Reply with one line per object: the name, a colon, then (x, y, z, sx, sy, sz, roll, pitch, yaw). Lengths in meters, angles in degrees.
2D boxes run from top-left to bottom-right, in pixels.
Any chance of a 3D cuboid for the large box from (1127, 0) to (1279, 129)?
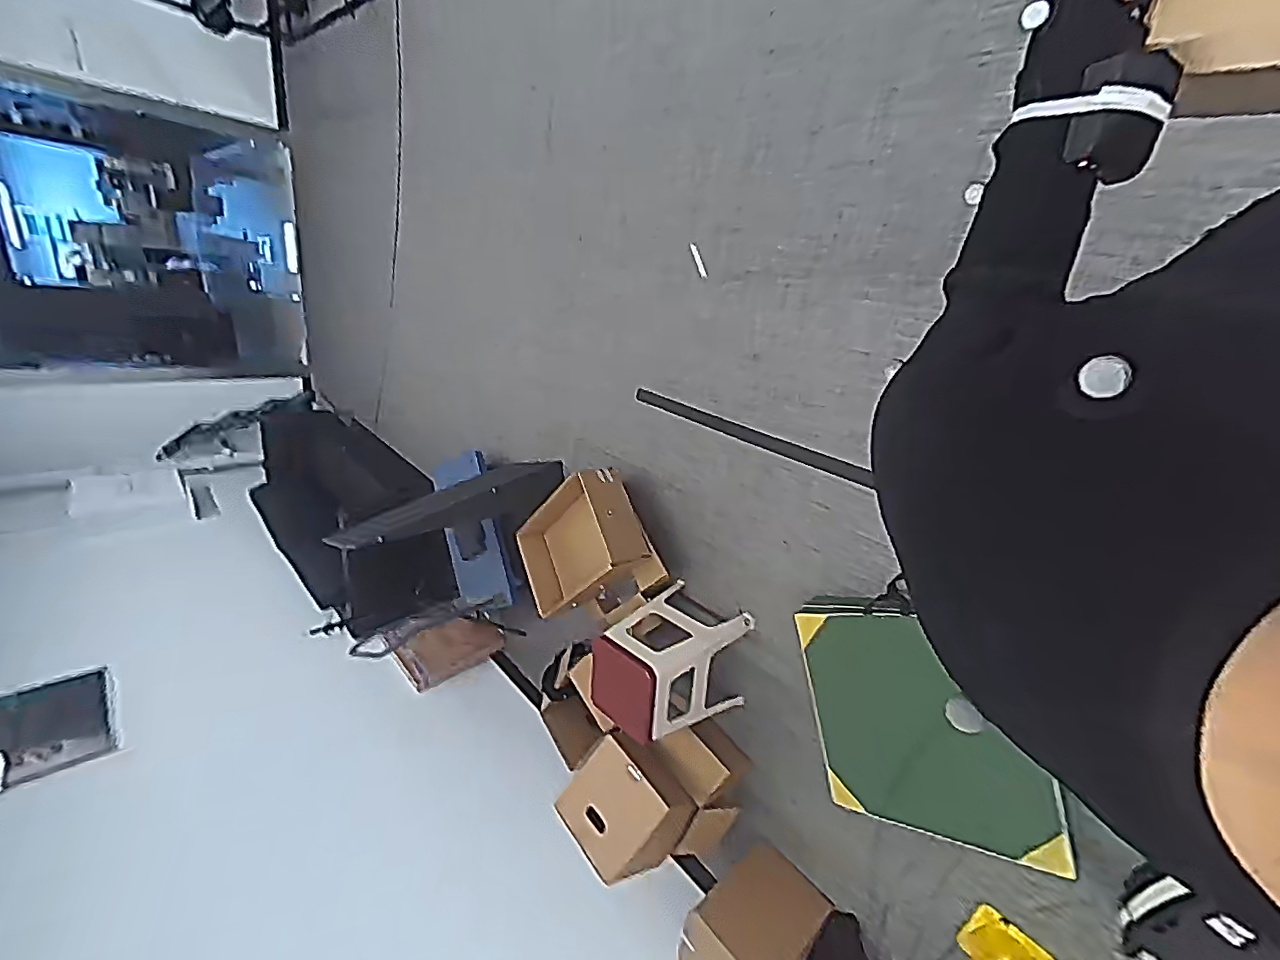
large box: (0.594, -0.409, 0.306, 0.408, 0.320, 0.320, 22, 126, 36)
